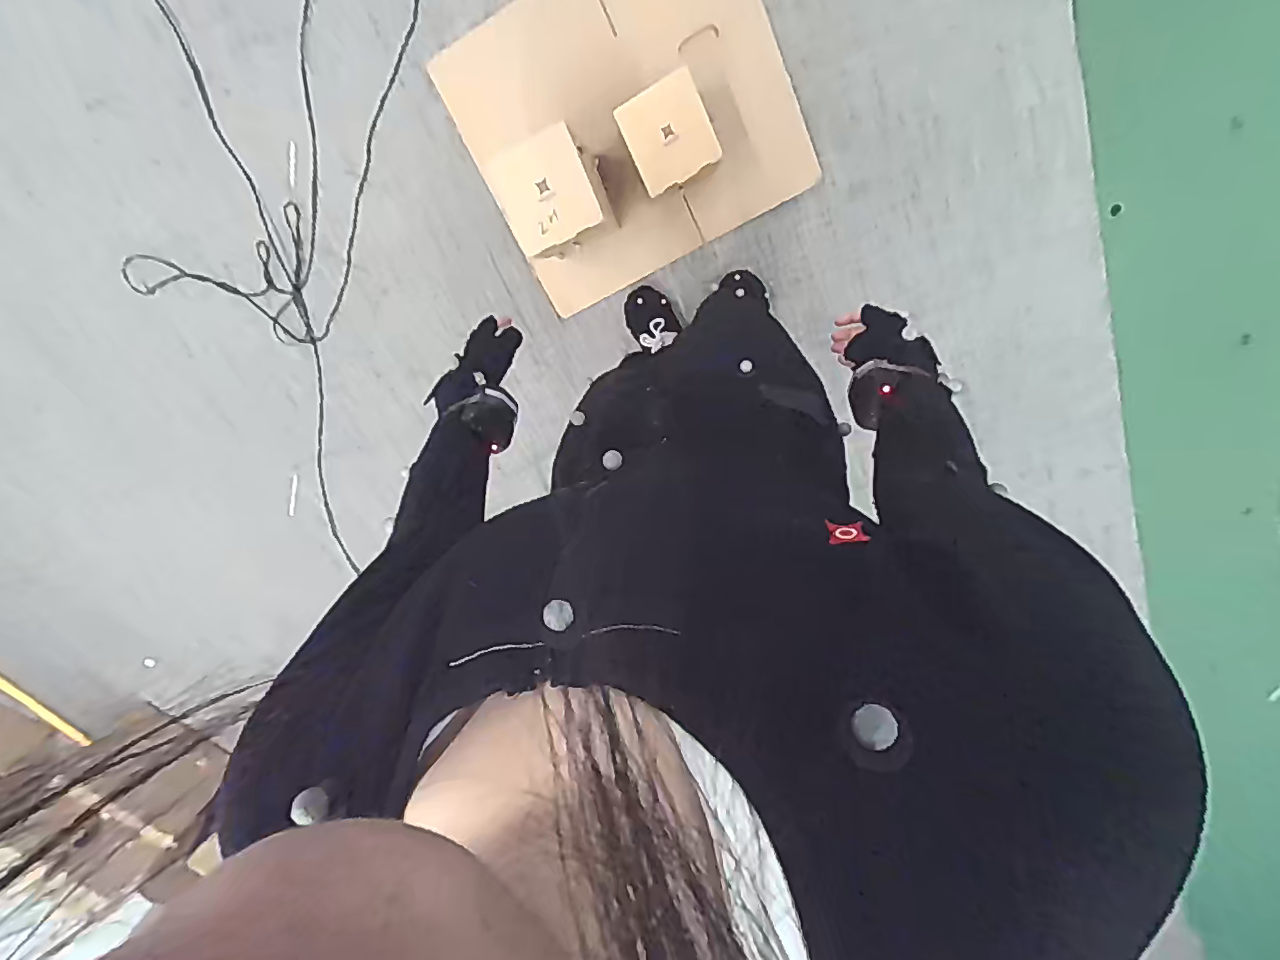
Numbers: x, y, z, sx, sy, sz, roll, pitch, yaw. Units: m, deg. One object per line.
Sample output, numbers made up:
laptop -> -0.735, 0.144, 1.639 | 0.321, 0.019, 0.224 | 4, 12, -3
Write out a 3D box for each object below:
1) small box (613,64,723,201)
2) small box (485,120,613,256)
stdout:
small box -> 0.059, -0.718, 1.142 | 0.168, 0.176, 0.179 | -26, 109, 13
small box -> -0.165, -0.548, 1.044 | 0.168, 0.176, 0.179 | -21, 110, 12
